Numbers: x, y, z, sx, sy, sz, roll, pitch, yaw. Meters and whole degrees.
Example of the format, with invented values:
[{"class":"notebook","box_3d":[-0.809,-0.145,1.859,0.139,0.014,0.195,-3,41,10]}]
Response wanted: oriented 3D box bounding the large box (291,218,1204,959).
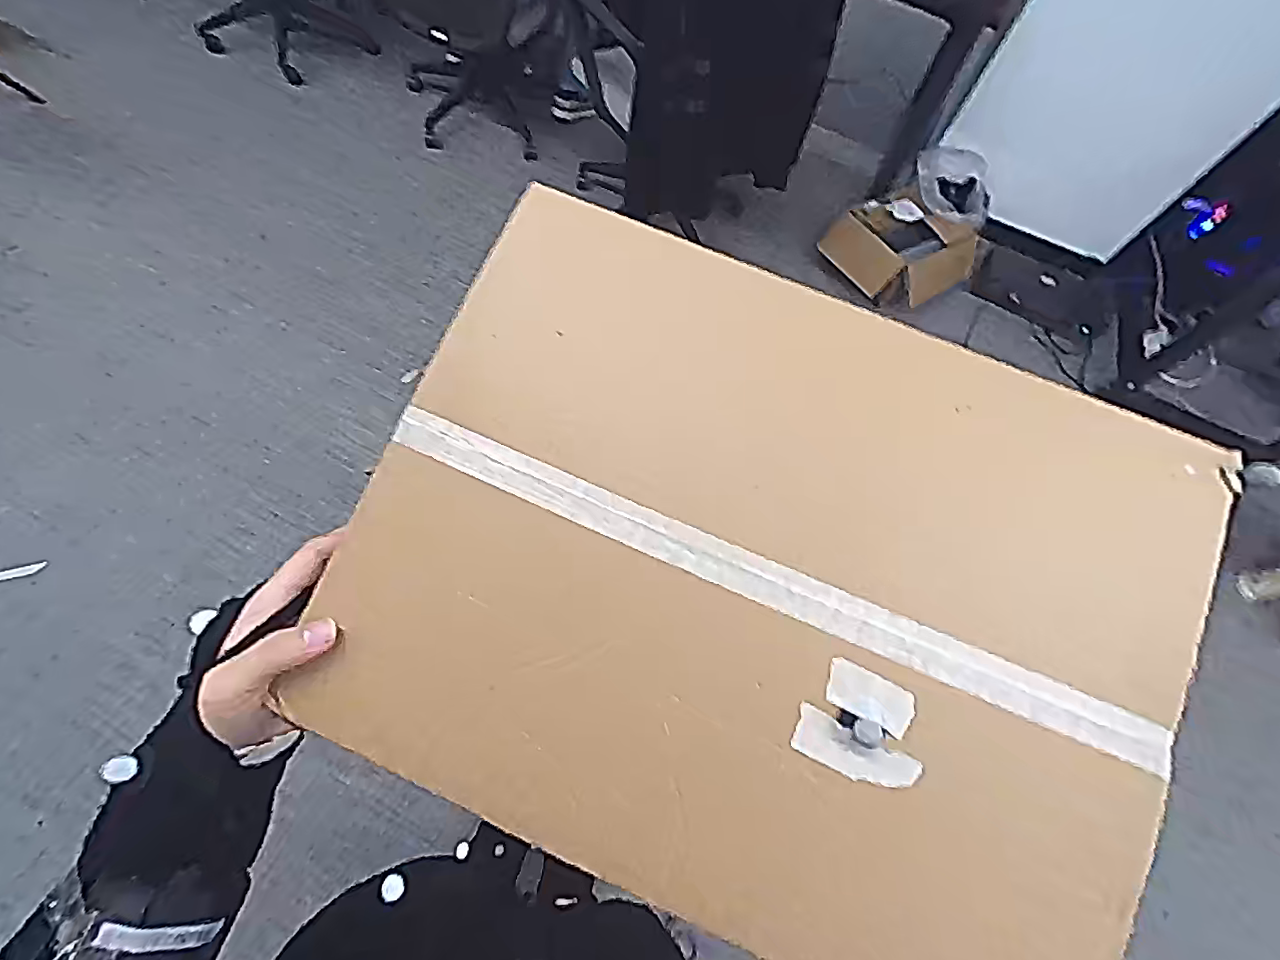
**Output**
[{"class":"large box","box_3d":[0.063,0.080,0.426,0.408,0.320,0.320,23,82,4]}]
